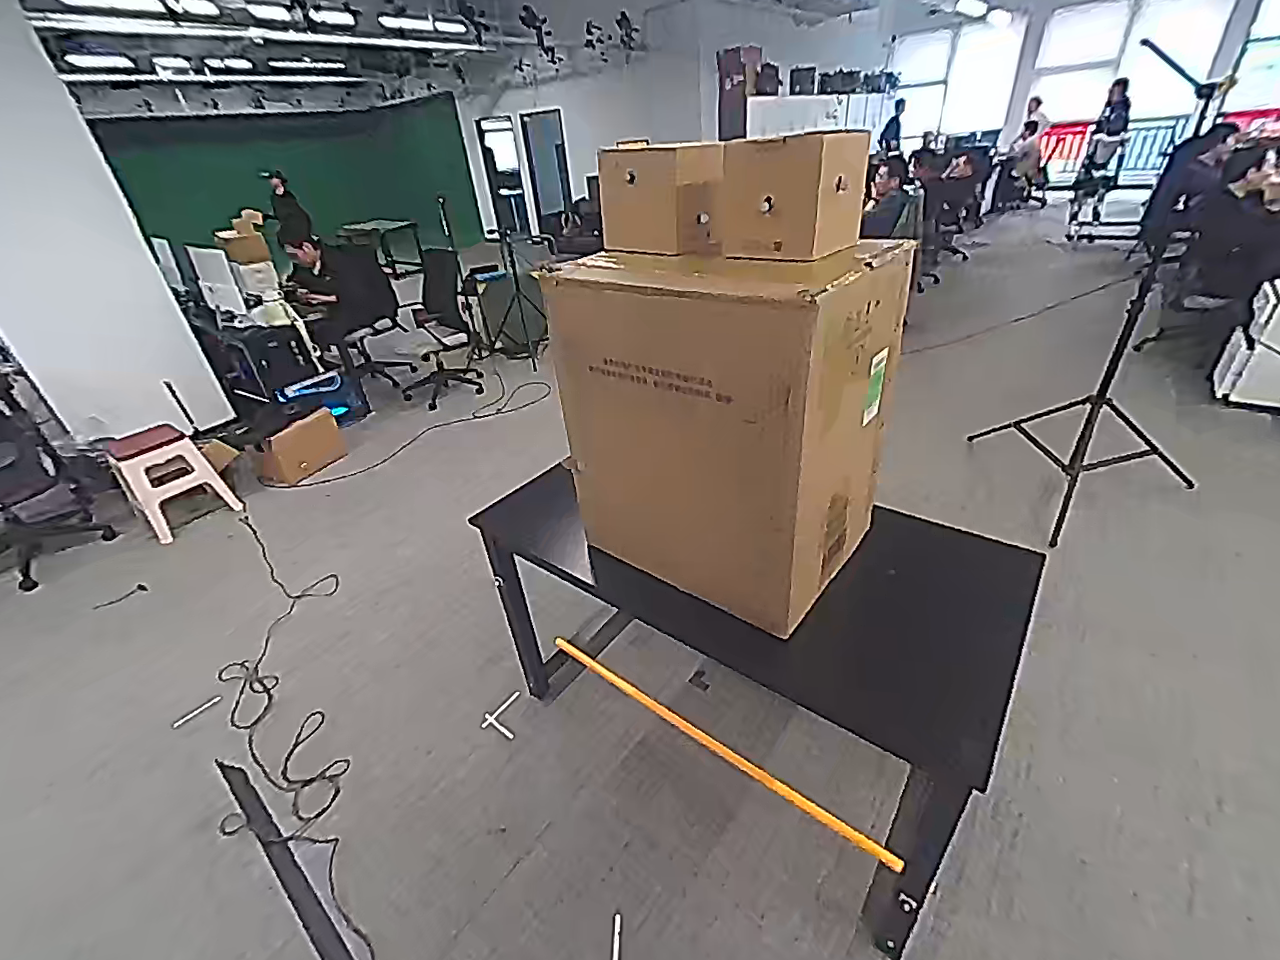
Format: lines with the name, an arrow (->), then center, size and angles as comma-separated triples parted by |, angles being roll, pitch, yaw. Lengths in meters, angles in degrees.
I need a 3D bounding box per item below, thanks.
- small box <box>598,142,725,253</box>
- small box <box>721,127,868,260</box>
small box -> 0.042, -0.529, 1.013 | 0.179, 0.176, 0.168 | 21, 40, 33
small box -> 0.248, -0.458, 0.873 | 0.168, 0.176, 0.179 | 20, 39, 35
